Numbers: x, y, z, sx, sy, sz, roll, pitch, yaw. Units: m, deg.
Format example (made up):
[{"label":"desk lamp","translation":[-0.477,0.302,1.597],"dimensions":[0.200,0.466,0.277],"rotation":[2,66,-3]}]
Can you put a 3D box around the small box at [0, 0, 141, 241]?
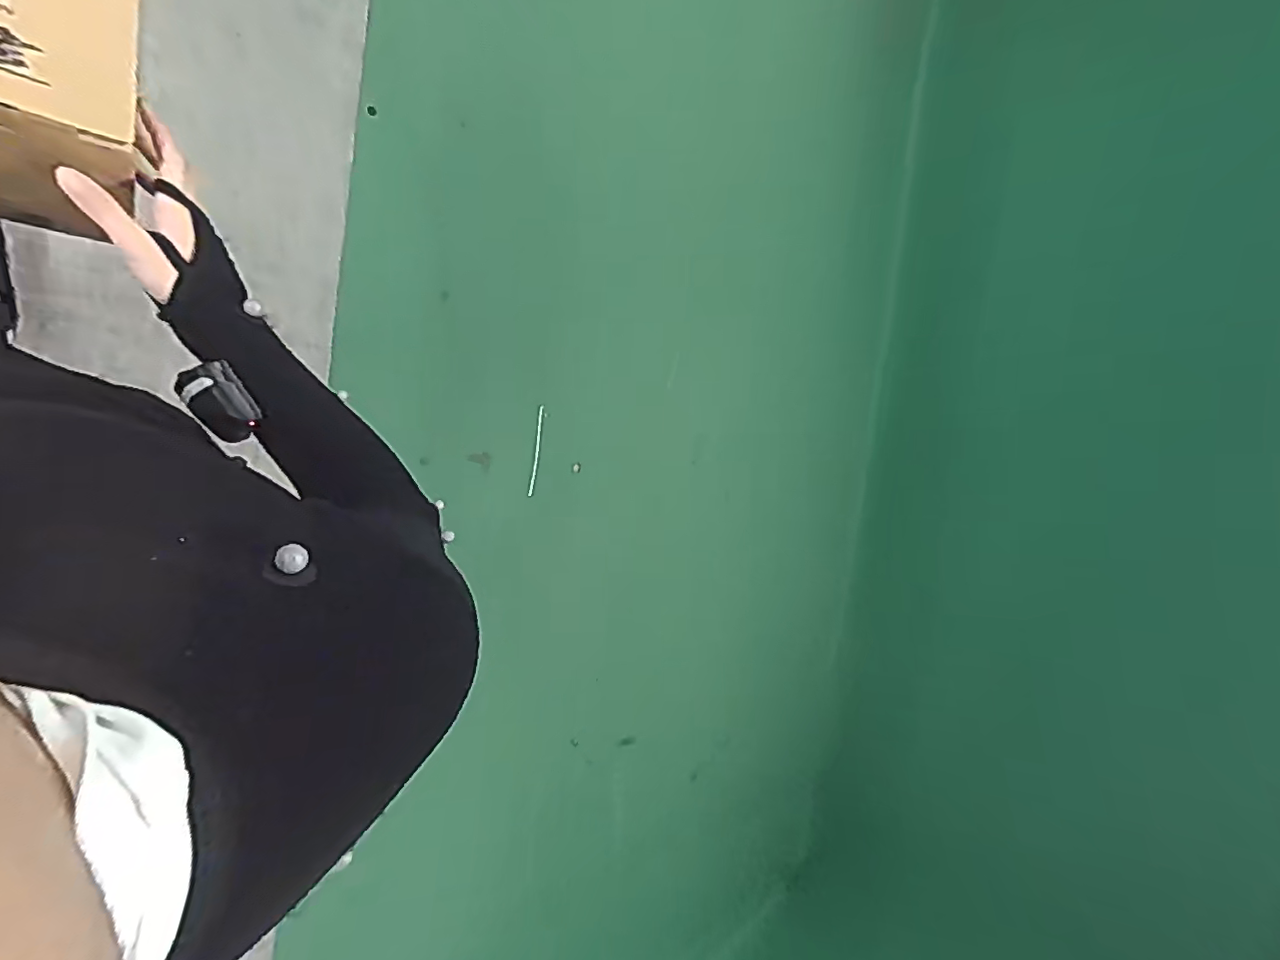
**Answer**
[{"label":"small box","translation":[-0.517,-0.327,0.435],"dimensions":[0.168,0.176,0.179],"rotation":[1,80,-43]}]
